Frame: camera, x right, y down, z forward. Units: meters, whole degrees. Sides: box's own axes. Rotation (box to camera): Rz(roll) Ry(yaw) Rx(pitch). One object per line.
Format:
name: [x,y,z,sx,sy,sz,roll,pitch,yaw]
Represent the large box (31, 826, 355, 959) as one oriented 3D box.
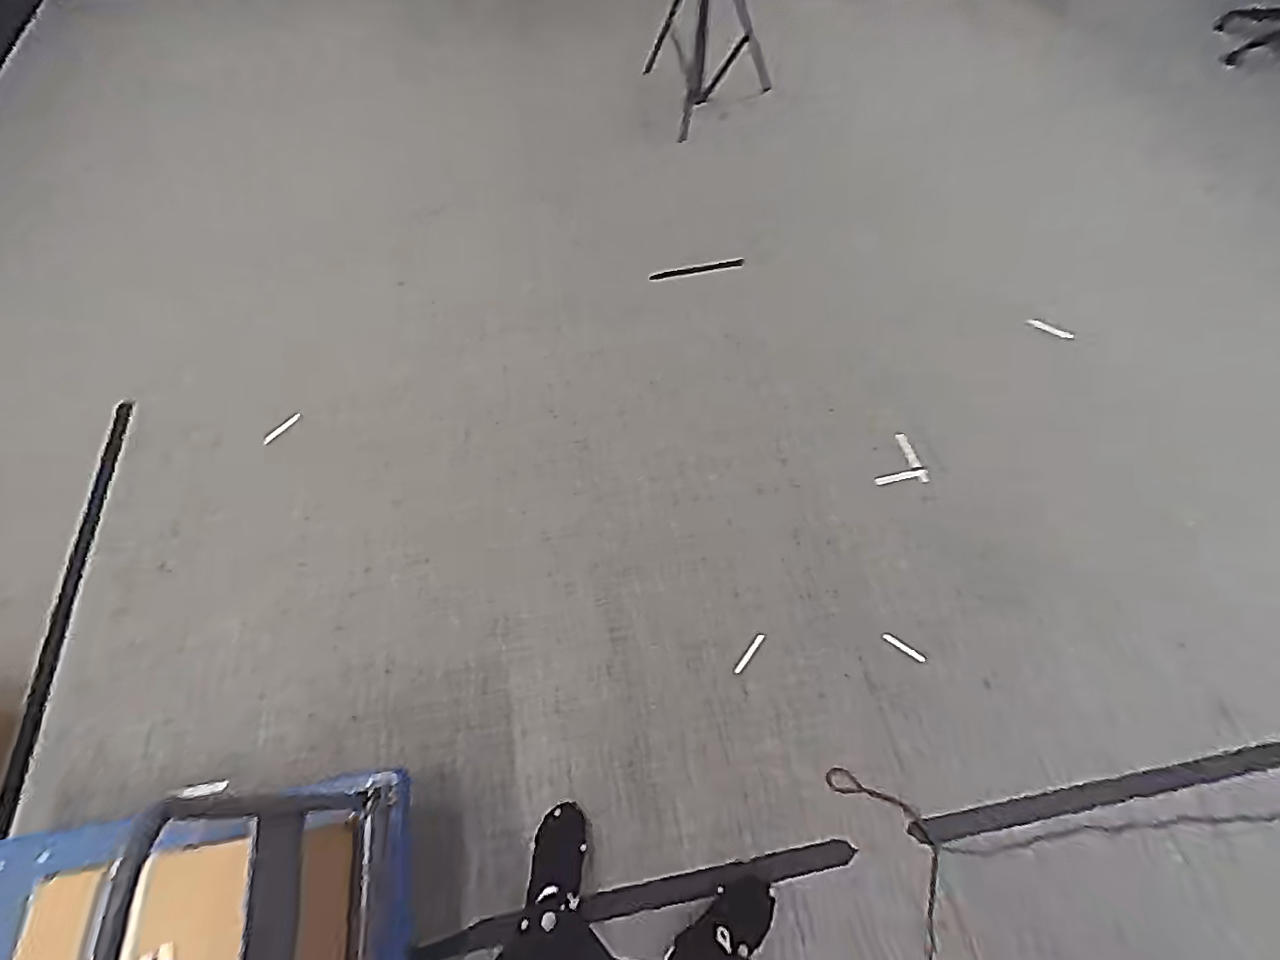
large box: [-0.681,0.812,0.844,0.320,0.320,0.408,-9,61,-5]
